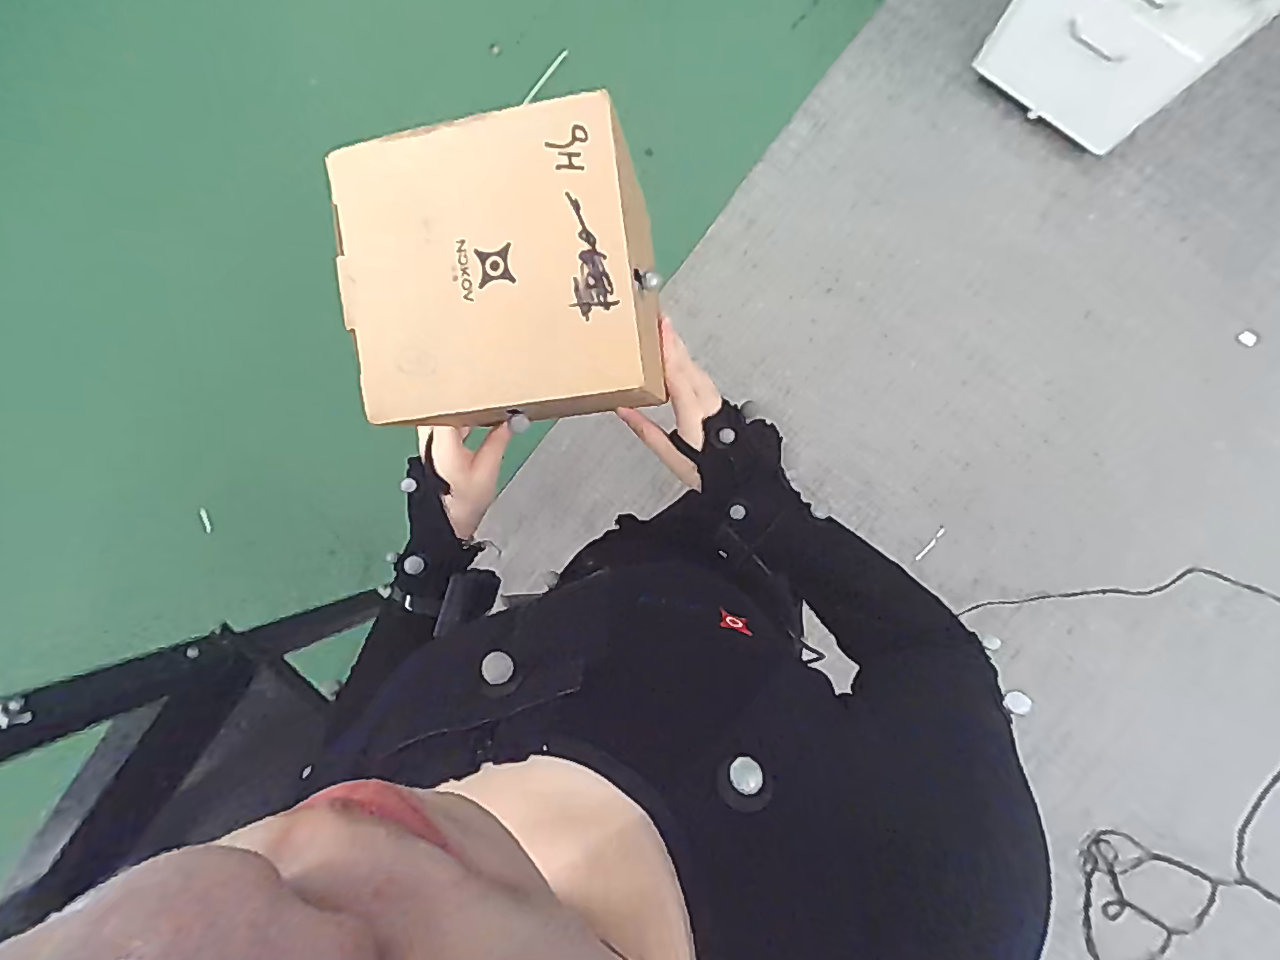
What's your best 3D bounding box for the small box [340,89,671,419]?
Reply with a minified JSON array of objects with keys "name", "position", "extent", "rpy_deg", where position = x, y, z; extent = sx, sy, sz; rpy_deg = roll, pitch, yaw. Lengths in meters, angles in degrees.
[{"name":"small box","position":[-0.077,-0.136,0.397],"extent":[0.179,0.176,0.168],"rpy_deg":[-5,95,9]}]
